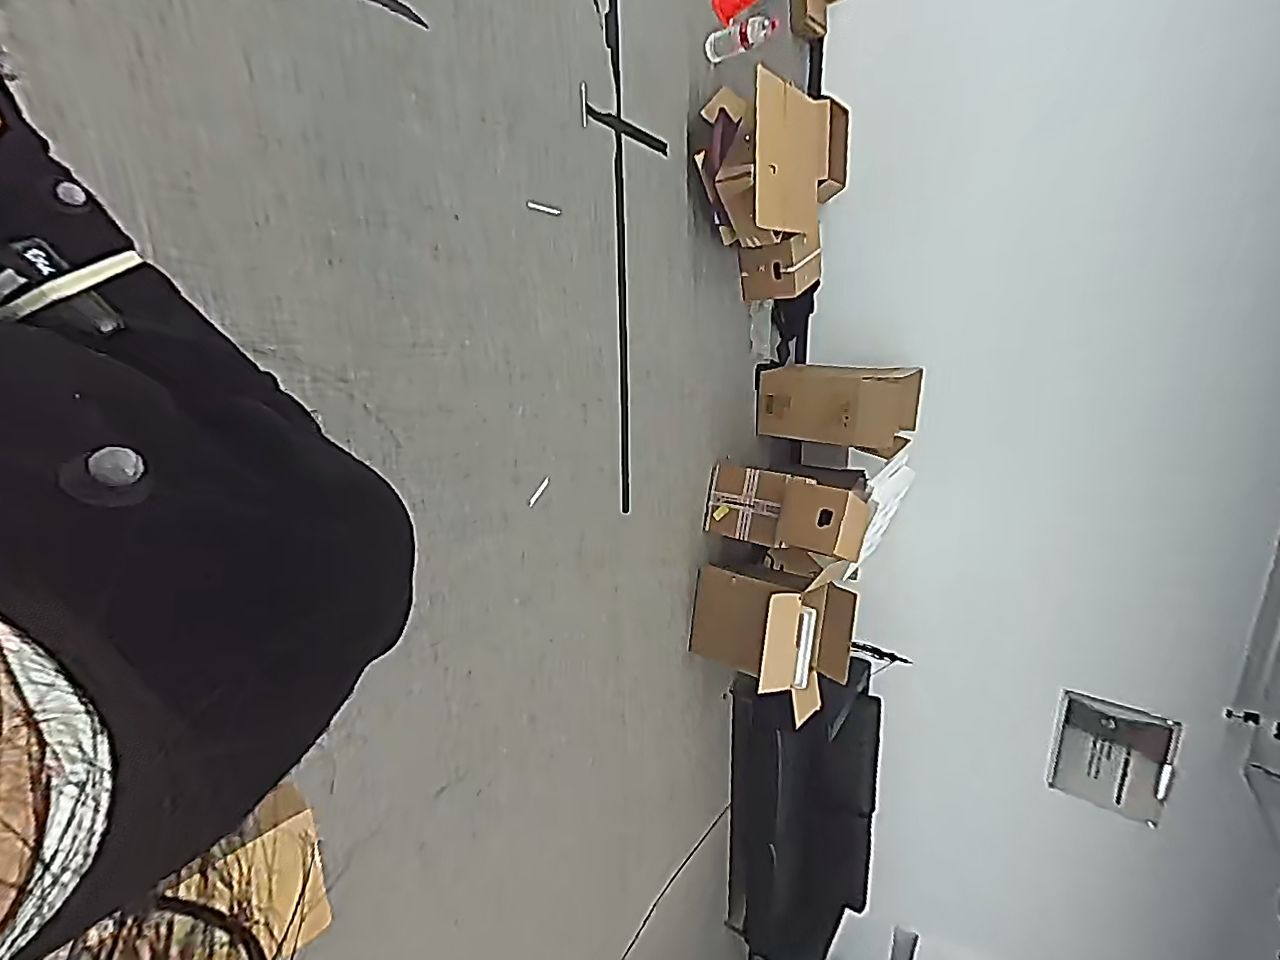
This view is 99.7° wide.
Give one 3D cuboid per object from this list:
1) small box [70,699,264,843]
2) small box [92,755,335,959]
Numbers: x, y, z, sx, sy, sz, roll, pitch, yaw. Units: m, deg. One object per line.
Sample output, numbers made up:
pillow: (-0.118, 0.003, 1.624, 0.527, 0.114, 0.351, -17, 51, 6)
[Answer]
small box: (-0.609, 0.429, 0.716, 0.168, 0.176, 0.179, -19, 113, -50)
small box: (-0.482, 0.450, 0.617, 0.168, 0.176, 0.179, -18, 113, -50)
